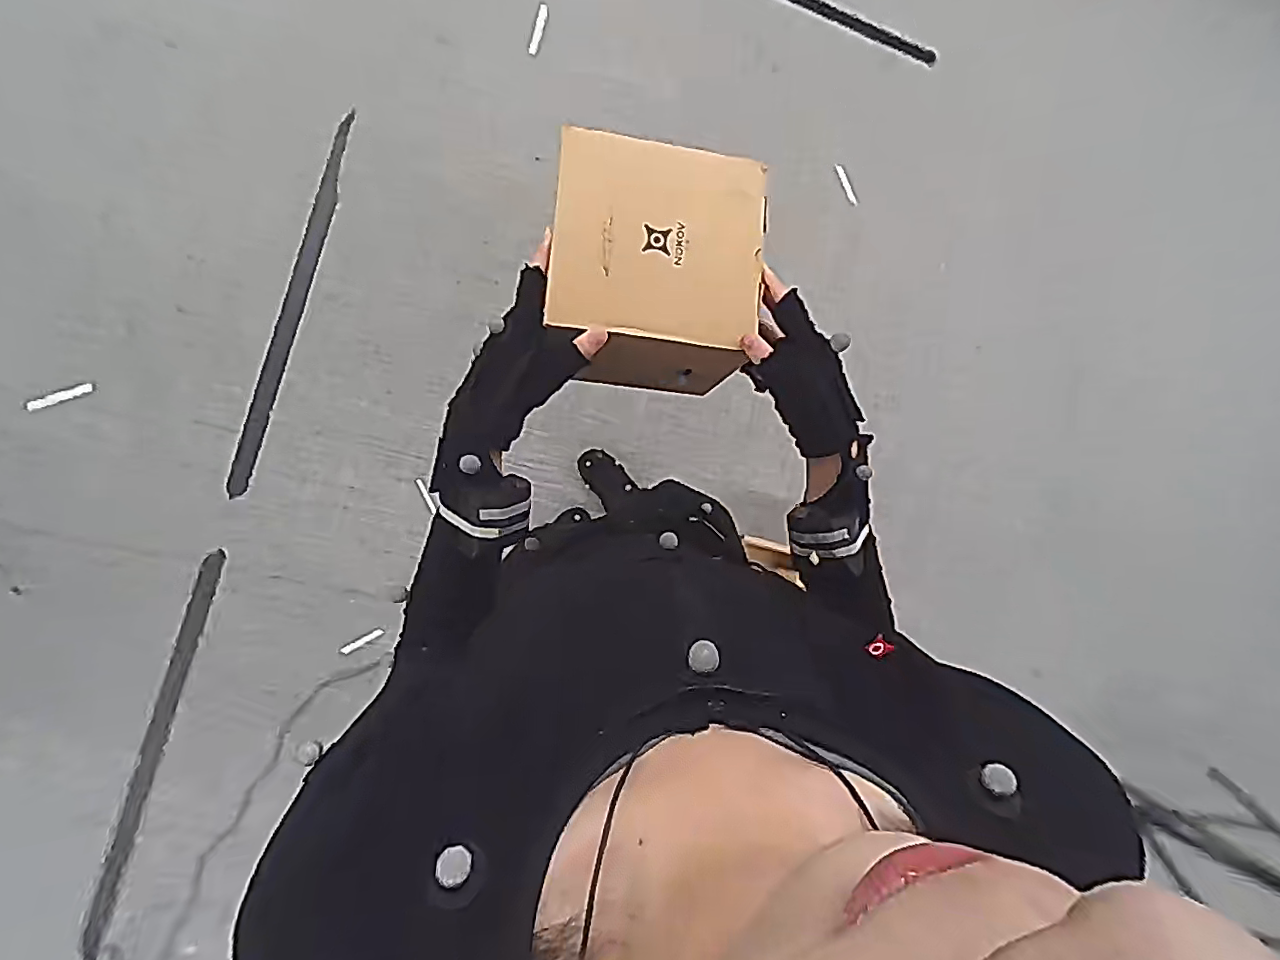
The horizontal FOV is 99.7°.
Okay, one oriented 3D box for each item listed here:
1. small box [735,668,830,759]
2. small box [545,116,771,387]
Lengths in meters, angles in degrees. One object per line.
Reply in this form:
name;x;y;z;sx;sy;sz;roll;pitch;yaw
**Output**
small box;0.379;0.625;1.468;0.179;0.176;0.168;17;85;-9
small box;0.006;-0.190;0.504;0.179;0.176;0.168;3;85;-8
